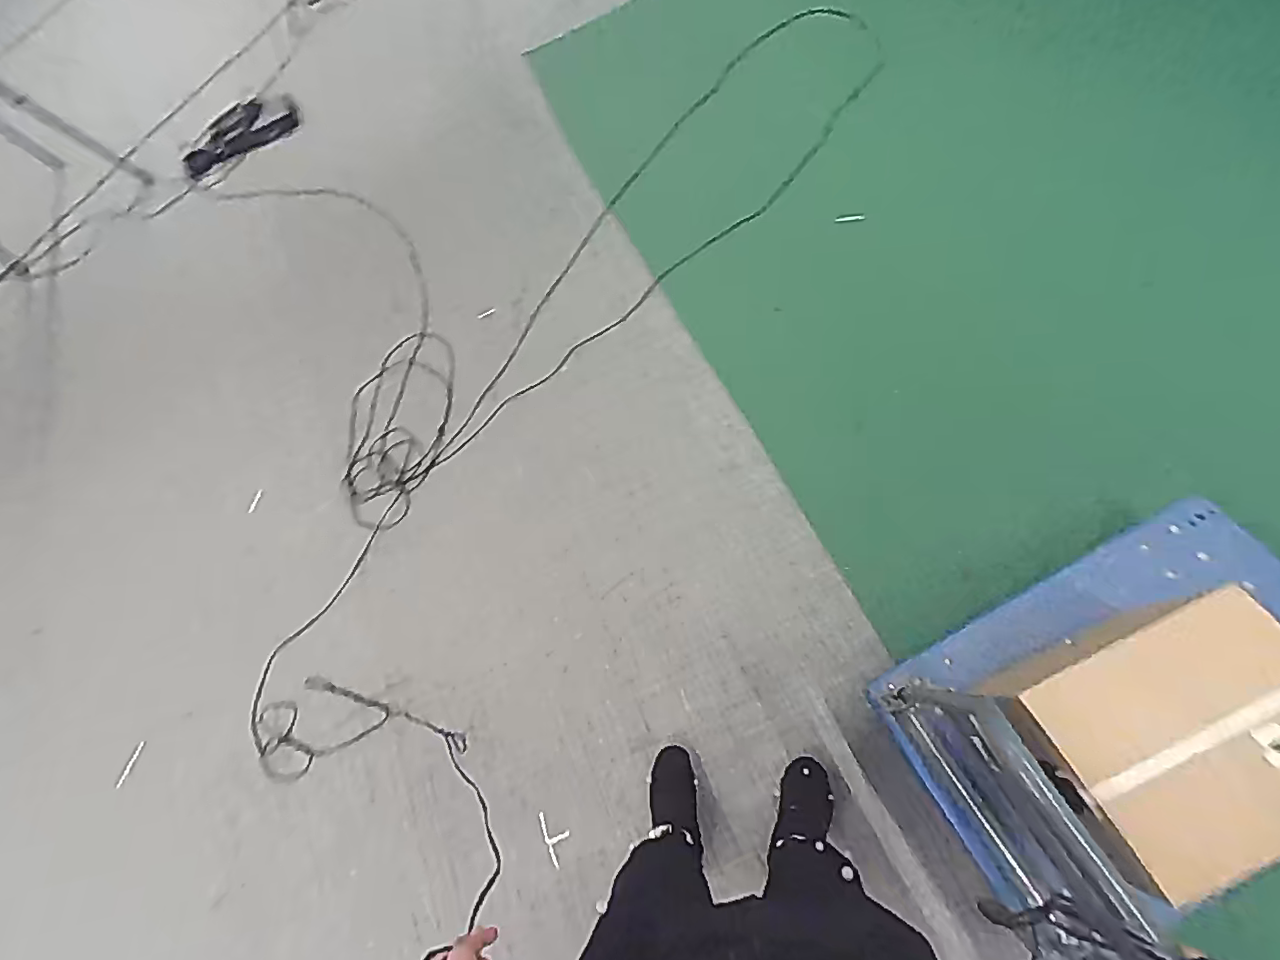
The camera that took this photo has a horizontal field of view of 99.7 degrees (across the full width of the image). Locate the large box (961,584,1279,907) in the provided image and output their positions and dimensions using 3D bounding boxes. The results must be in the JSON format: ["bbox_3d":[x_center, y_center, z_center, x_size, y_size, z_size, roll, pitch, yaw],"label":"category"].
[{"bbox_3d":[0.880,0.438,0.946,0.408,0.320,0.320,-27,66,0],"label":"large box"}]
